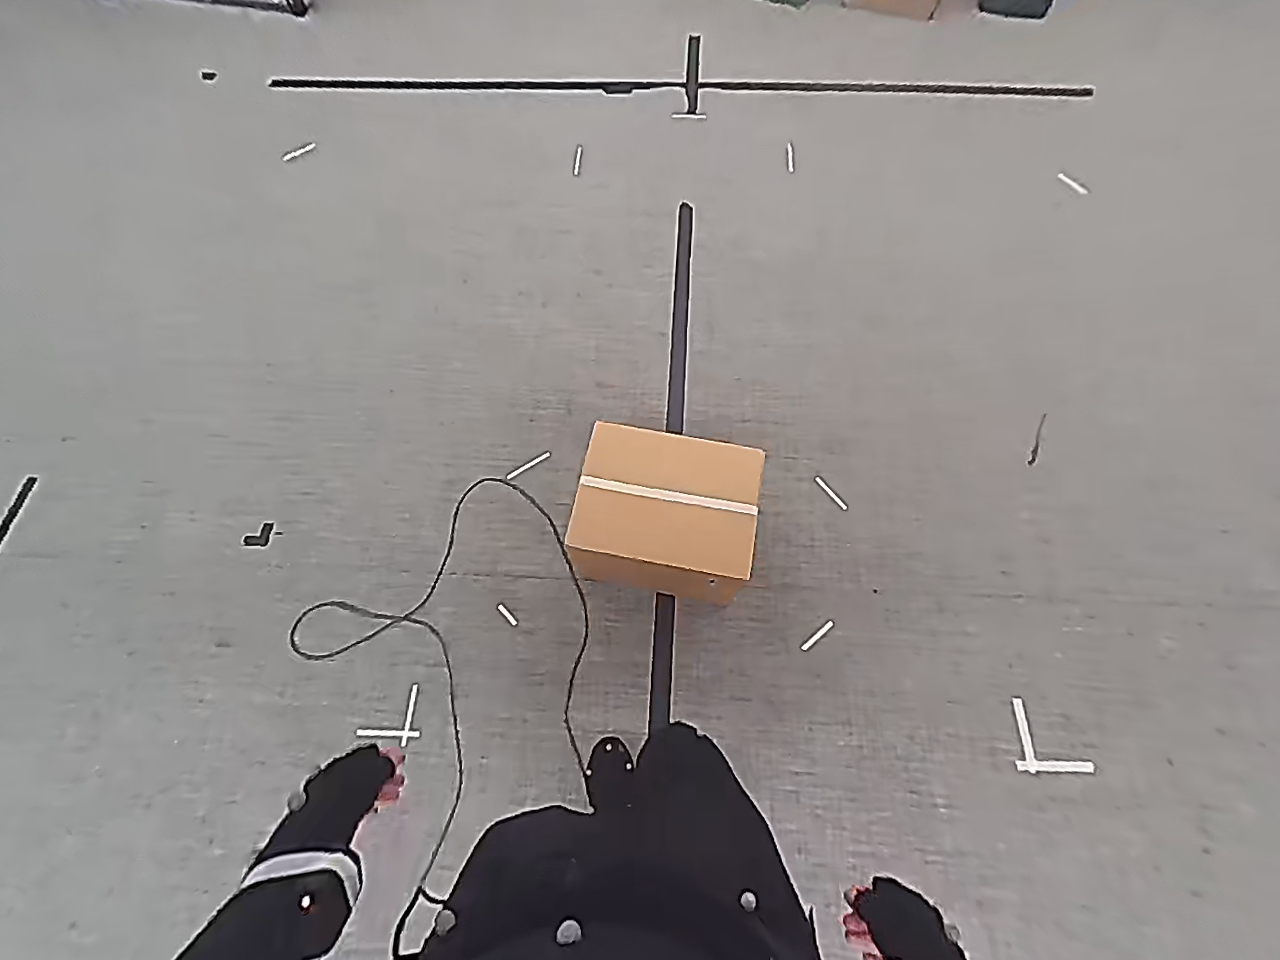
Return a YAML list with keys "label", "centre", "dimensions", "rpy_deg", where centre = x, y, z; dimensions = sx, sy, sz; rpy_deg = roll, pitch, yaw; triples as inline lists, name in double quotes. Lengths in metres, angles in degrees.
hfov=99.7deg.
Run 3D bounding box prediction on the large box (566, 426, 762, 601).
- label: "large box"
  centre: [0.063, 0.097, 1.341]
  dimensions: [0.408, 0.320, 0.320]
  rpy_deg: [10, 67, 4]
